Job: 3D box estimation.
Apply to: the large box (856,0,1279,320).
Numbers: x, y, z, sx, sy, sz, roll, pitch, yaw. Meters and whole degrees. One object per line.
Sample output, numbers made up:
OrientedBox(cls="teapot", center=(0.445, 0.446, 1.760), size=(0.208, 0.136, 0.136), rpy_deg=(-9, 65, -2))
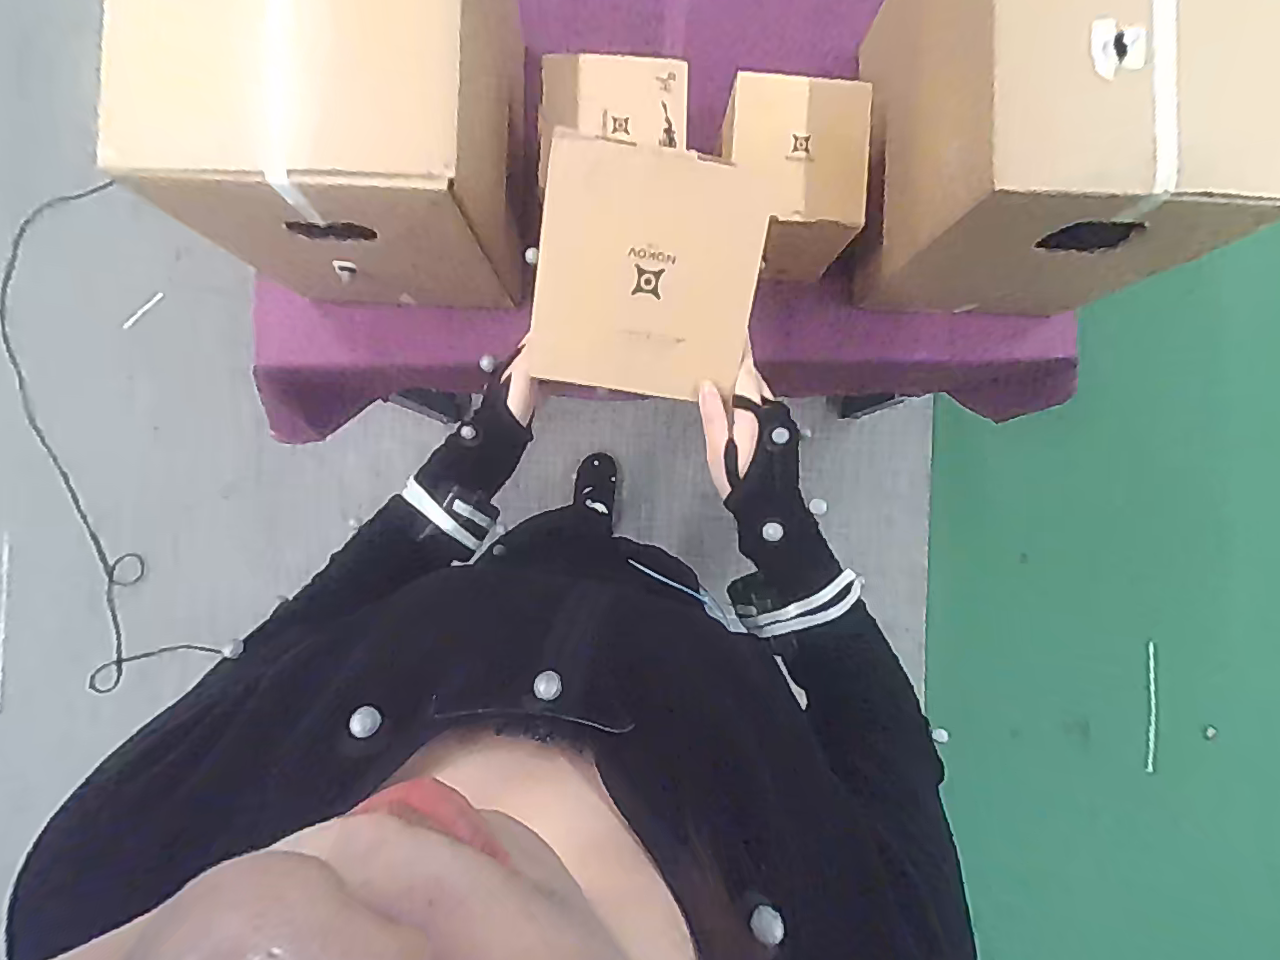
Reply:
OrientedBox(cls="large box", center=(0.487, -0.451, 0.677), size=(0.320, 0.320, 0.408), rpy_deg=(2, 89, -2))
